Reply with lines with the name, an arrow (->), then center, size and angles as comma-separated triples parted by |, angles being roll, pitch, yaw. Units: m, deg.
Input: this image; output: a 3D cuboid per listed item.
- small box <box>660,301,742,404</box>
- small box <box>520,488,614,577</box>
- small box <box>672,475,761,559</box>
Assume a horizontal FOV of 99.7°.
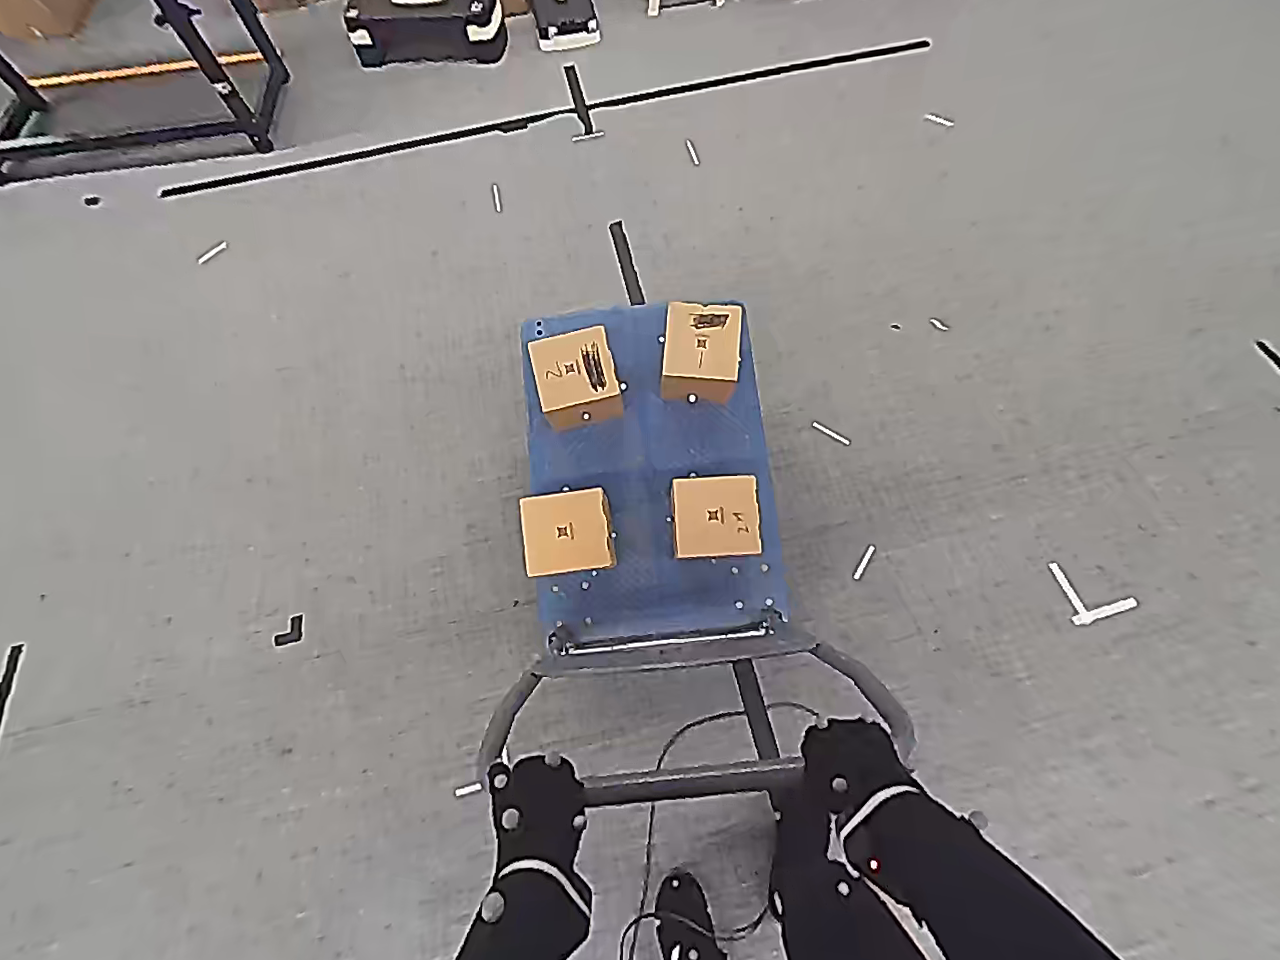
small box -> 0.137, -0.292, 1.260 | 0.168, 0.176, 0.179 | 5, 81, 2
small box -> -0.155, 0.120, 1.193 | 0.179, 0.176, 0.168 | -8, 80, -3
small box -> 0.160, 0.087, 1.194 | 0.179, 0.176, 0.168 | -3, 81, 0
